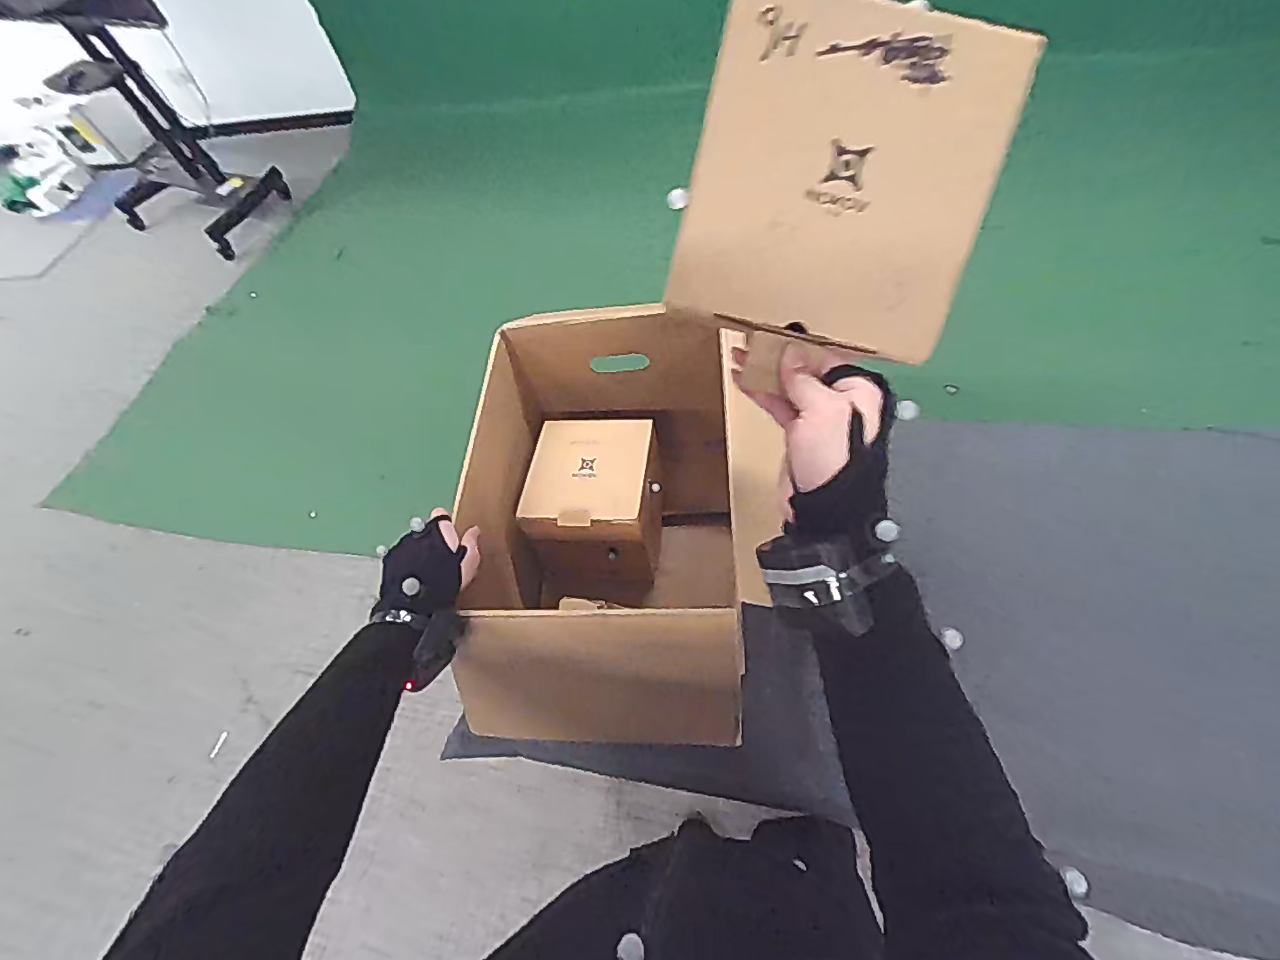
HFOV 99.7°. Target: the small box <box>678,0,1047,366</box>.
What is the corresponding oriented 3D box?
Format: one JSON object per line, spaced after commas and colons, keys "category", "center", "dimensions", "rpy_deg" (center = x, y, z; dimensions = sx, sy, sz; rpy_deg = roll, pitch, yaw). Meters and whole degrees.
{"category": "small box", "center": [0.129, -0.193, 0.392], "dimensions": [0.168, 0.179, 0.176], "rpy_deg": [13, 17, 1]}
